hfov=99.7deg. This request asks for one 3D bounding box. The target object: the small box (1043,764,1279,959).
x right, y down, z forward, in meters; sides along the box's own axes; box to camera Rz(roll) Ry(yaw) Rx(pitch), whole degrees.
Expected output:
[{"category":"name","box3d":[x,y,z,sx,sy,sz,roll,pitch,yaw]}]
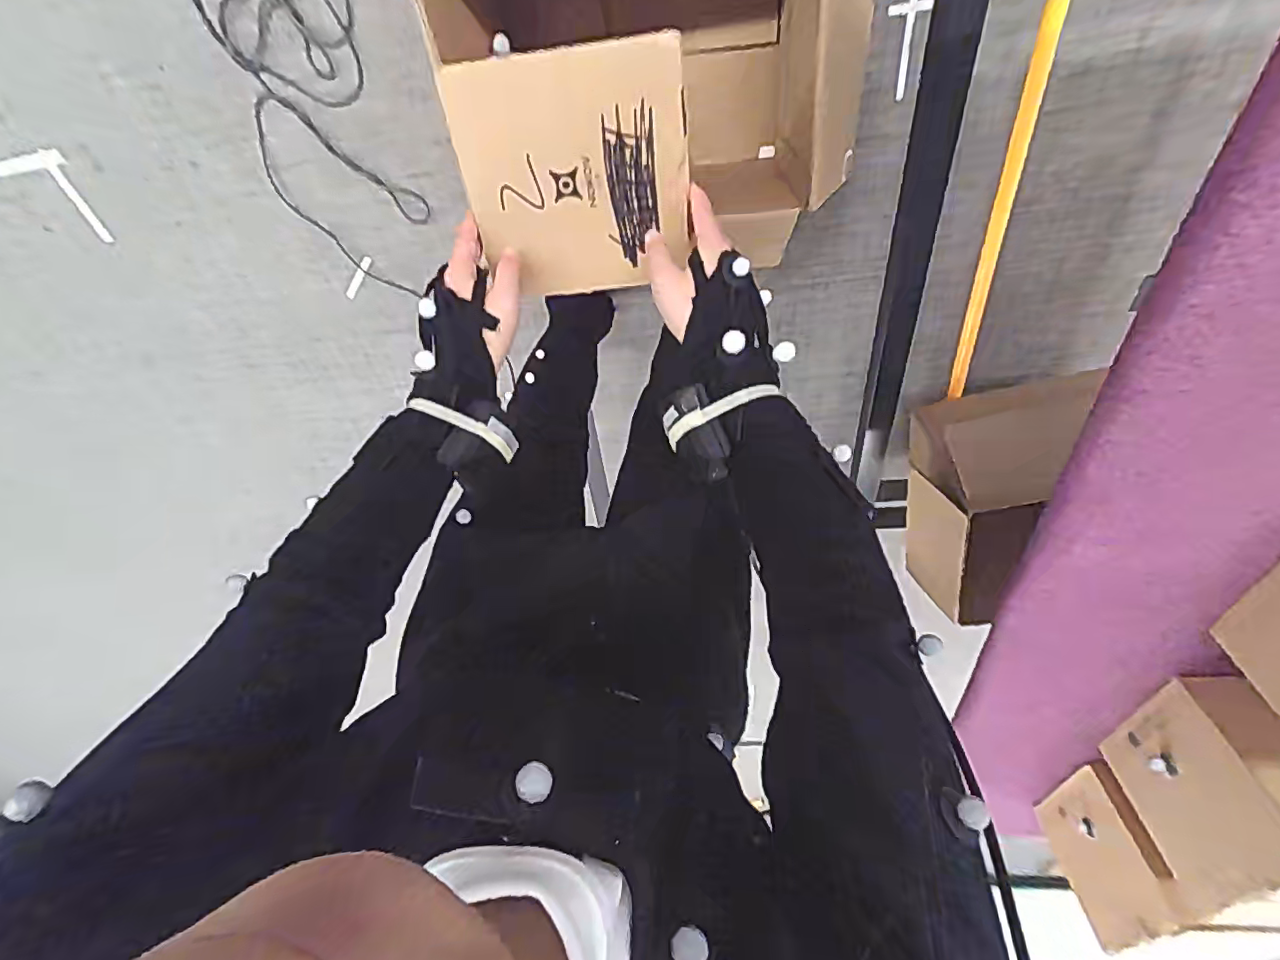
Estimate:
[{"category":"small box","box3d":[0.649,0.462,0.654,0.179,0.176,0.168,-1,131,4]}]

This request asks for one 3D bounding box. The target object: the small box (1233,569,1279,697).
[{"category":"small box","box3d":[0.582,0.120,0.362,0.168,0.176,0.179,-1,130,5]}]
